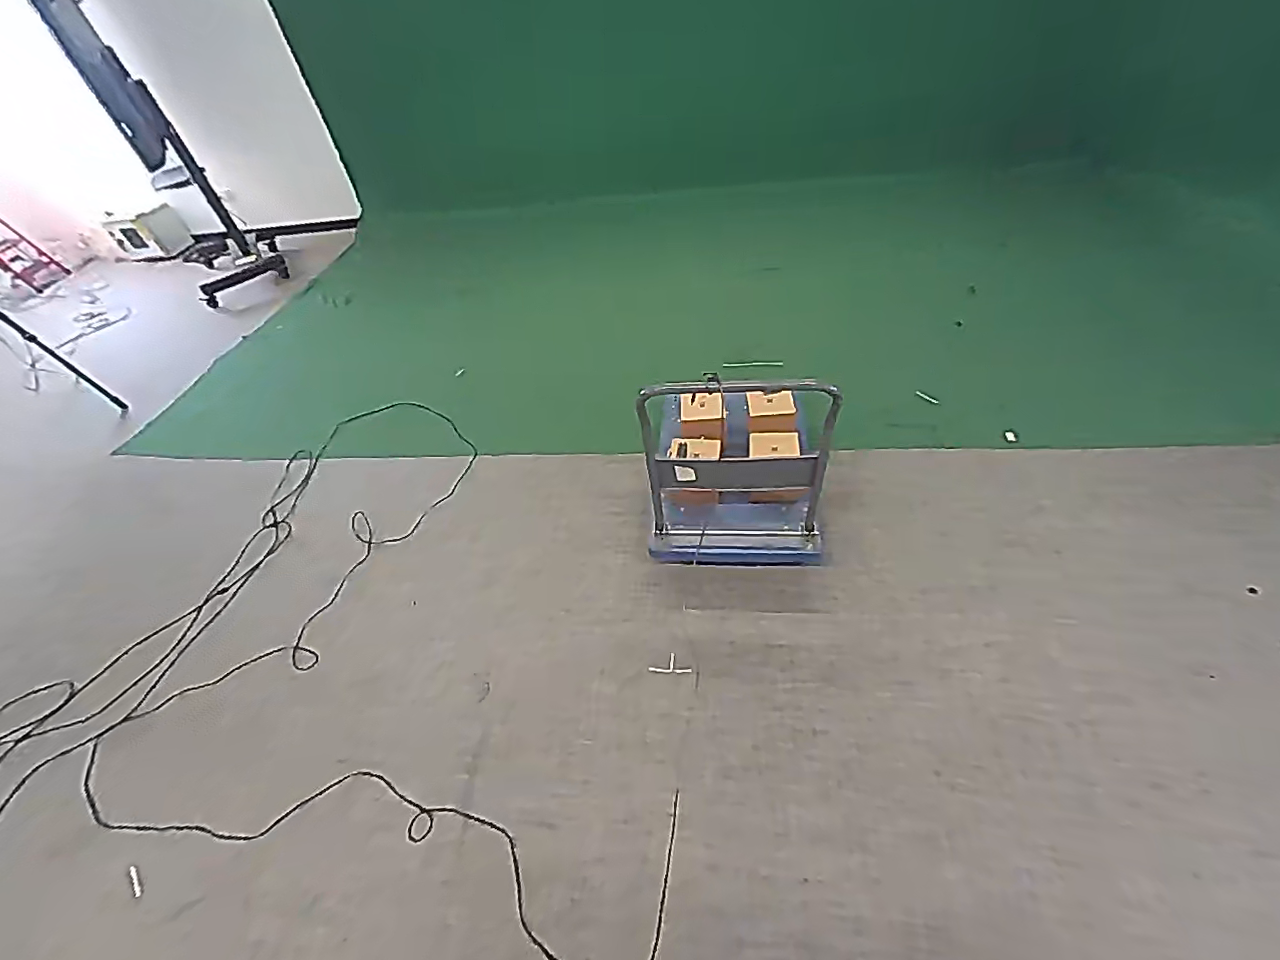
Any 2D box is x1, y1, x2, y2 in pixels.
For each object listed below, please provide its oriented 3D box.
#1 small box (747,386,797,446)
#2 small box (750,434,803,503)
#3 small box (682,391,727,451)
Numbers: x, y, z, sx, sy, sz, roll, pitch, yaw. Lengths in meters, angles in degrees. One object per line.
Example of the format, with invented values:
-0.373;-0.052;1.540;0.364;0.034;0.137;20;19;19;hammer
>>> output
0.500;-0.238;2.066;0.168;0.176;0.179;-3;47;8;small box
0.470;-0.041;1.884;0.168;0.176;0.179;1;47;10;small box
0.251;-0.223;2.097;0.168;0.176;0.179;-3;46;7;small box
